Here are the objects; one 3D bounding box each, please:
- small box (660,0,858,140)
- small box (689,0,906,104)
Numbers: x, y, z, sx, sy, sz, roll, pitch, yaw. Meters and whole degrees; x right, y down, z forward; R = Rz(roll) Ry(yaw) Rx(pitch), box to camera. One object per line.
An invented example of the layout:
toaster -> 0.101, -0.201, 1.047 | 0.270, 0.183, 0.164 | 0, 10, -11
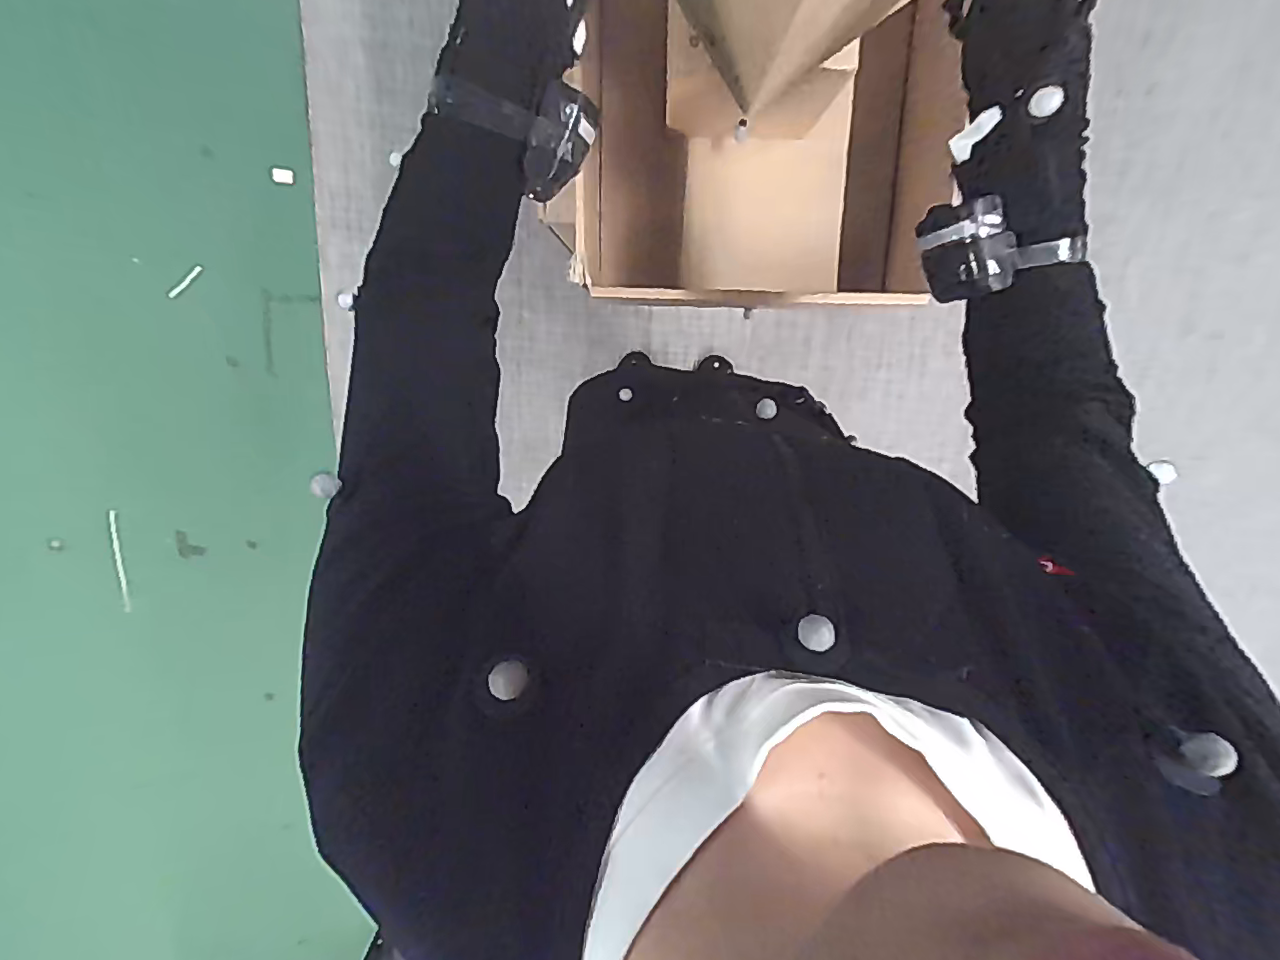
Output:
small box -> 0.116, -0.479, 0.566 | 0.179, 0.176, 0.168 | 1, 102, -1
small box -> 0.117, -0.403, 0.354 | 0.179, 0.176, 0.168 | -36, 98, 2
